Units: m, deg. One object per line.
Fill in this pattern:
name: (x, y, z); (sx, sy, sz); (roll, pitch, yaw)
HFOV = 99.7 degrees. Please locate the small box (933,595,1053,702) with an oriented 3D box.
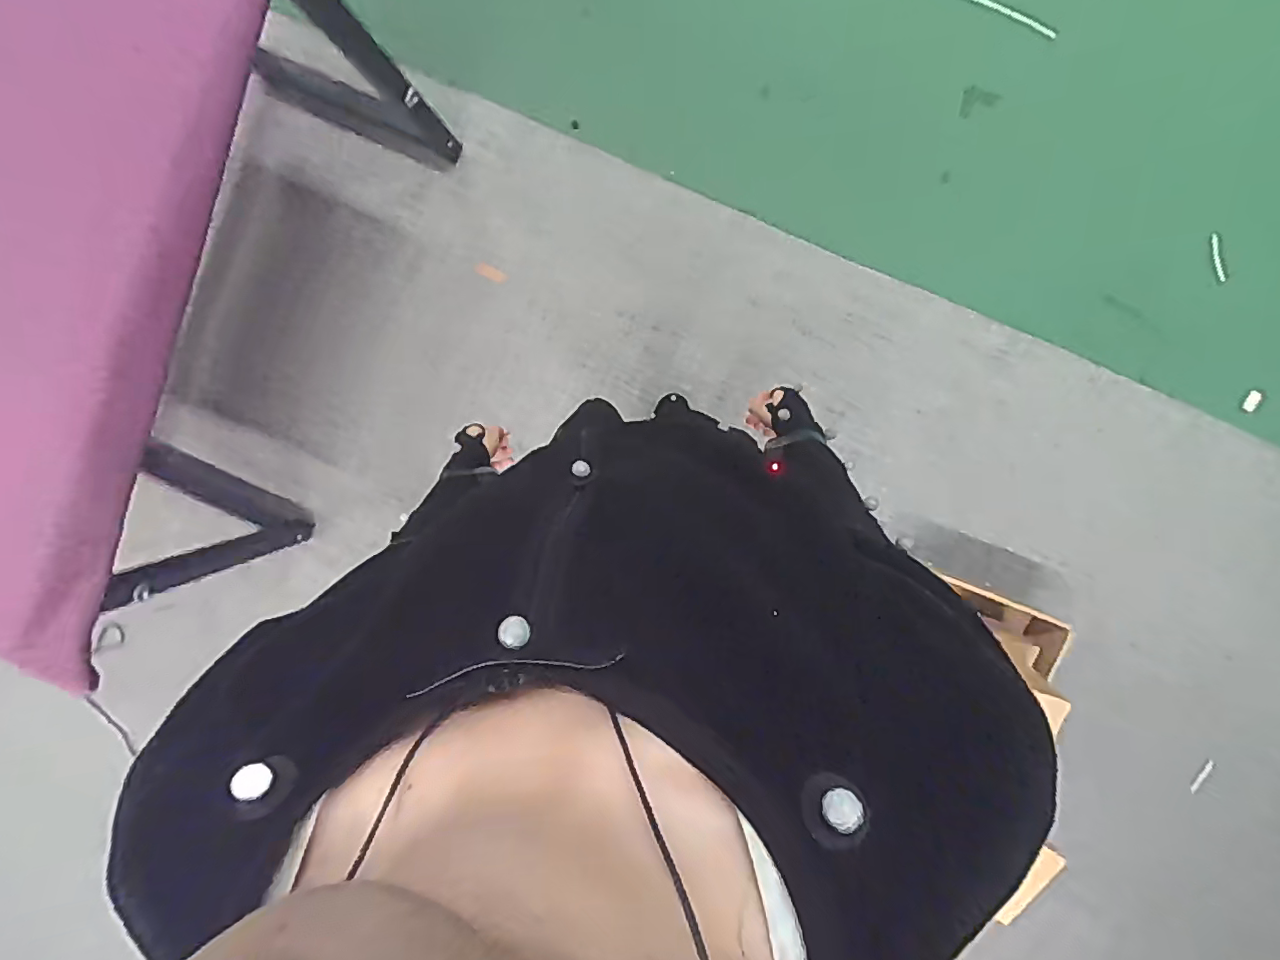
small box: (0.874, 0.415, 1.361); (0.168, 0.176, 0.179); (19, 102, 4)
